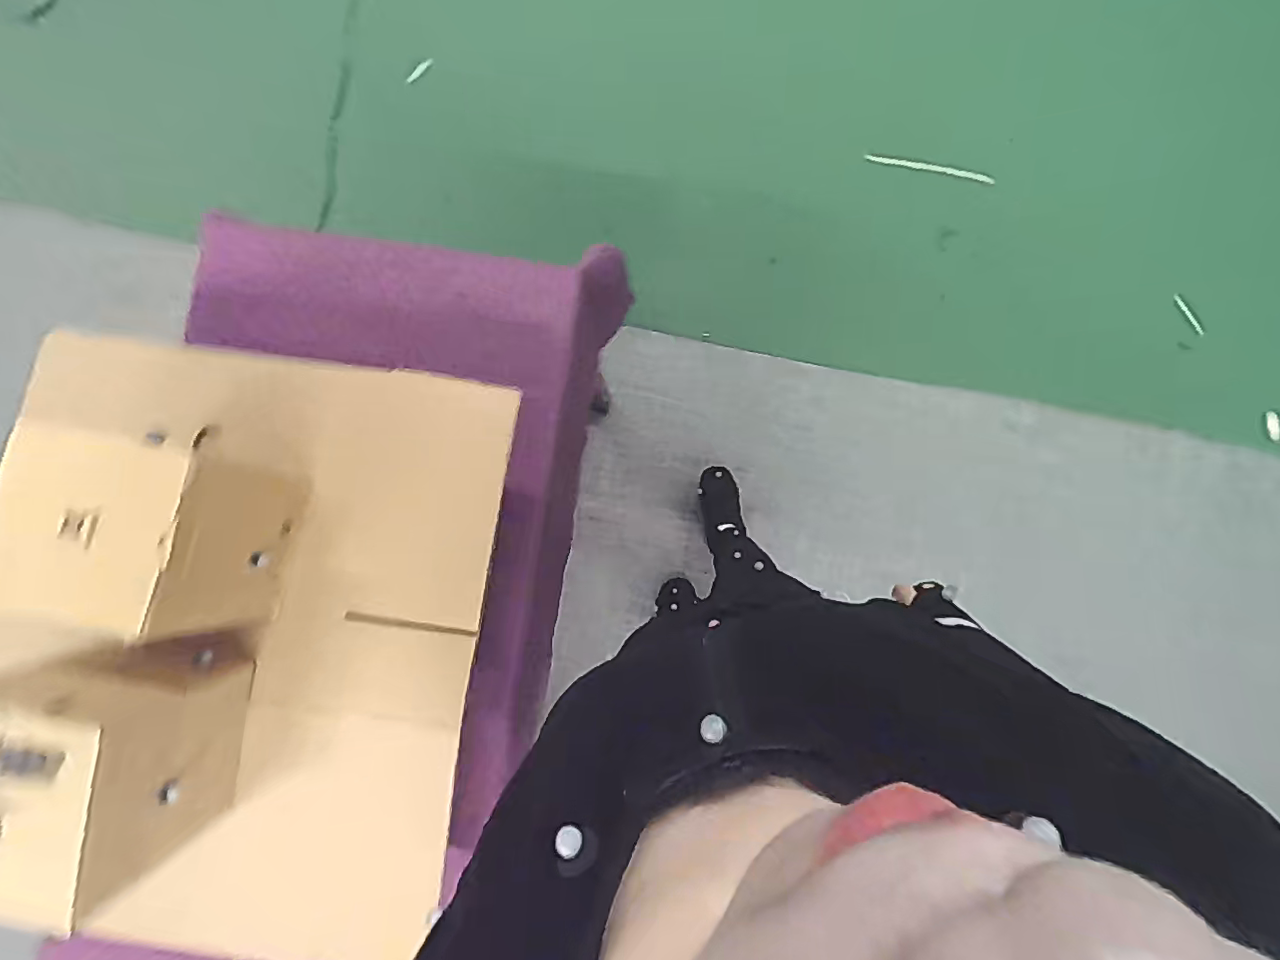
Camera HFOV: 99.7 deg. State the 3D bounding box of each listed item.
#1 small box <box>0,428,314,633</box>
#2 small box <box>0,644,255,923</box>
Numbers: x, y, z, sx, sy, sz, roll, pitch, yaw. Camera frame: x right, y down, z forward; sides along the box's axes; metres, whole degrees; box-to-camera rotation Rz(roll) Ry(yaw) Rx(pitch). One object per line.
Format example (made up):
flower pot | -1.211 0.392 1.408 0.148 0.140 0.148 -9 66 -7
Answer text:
small box | -0.493 0.055 0.568 0.179 0.176 0.168 9 82 3
small box | -0.530 0.280 0.542 0.168 0.176 0.179 9 91 3
